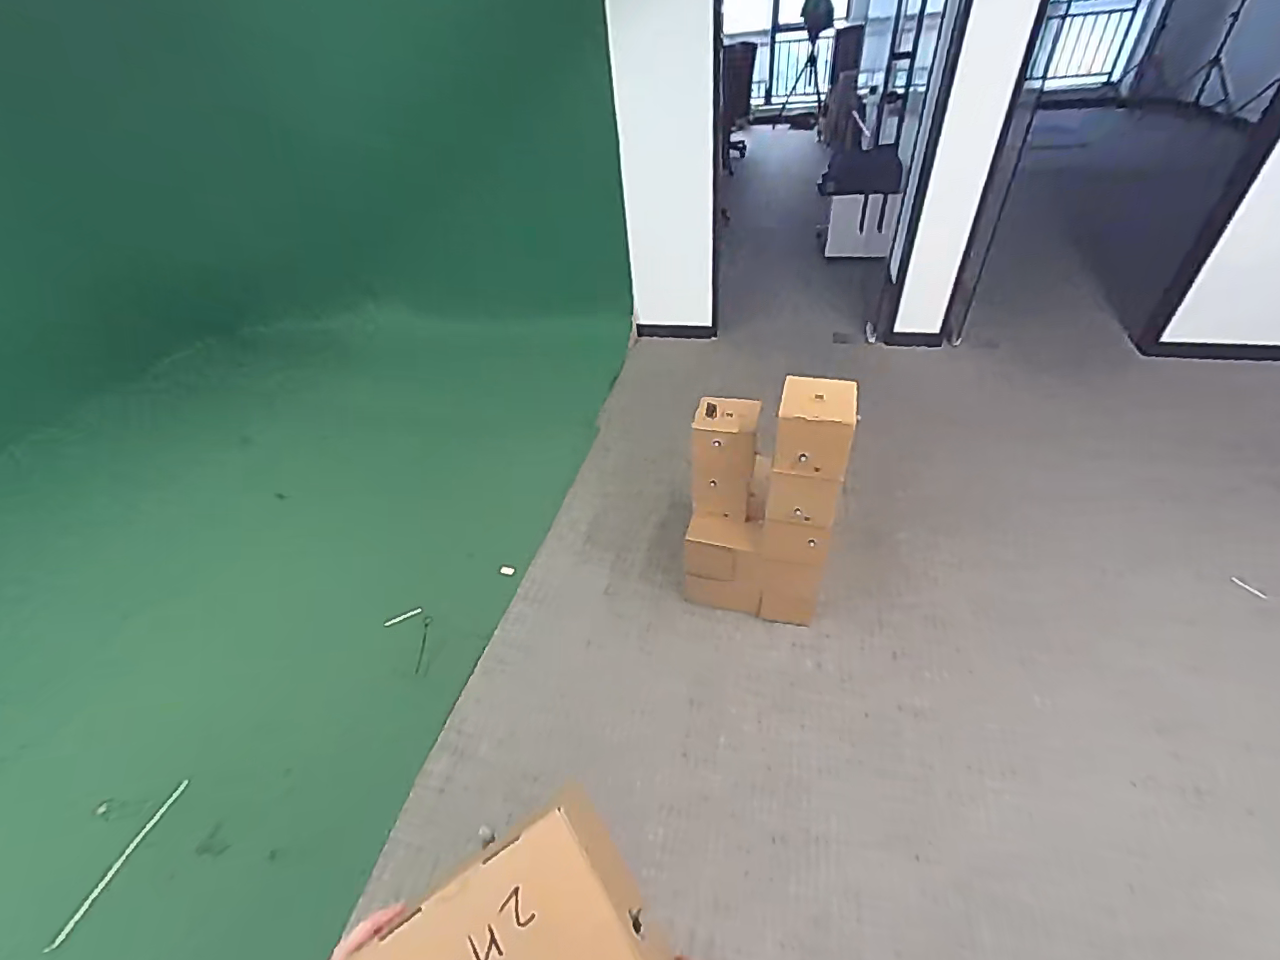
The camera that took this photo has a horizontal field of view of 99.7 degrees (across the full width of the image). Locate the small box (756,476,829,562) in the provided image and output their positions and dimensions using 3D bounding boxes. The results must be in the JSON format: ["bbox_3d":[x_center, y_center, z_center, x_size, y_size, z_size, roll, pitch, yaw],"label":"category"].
[{"bbox_3d":[0.427,0.112,1.520,0.179,0.176,0.168,7,41,14],"label":"small box"}]

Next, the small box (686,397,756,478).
[{"bbox_3d":[0.236,-0.121,1.559,0.179,0.176,0.168,6,42,15],"label":"small box"}]

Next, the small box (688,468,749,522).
[{"bbox_3d":[0.245,0.003,1.670,0.168,0.176,0.179,7,41,15],"label":"small box"}]

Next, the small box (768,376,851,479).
[{"bbox_3d":[0.406,-0.128,1.299,0.168,0.176,0.179,8,43,15],"label":"small box"}]
